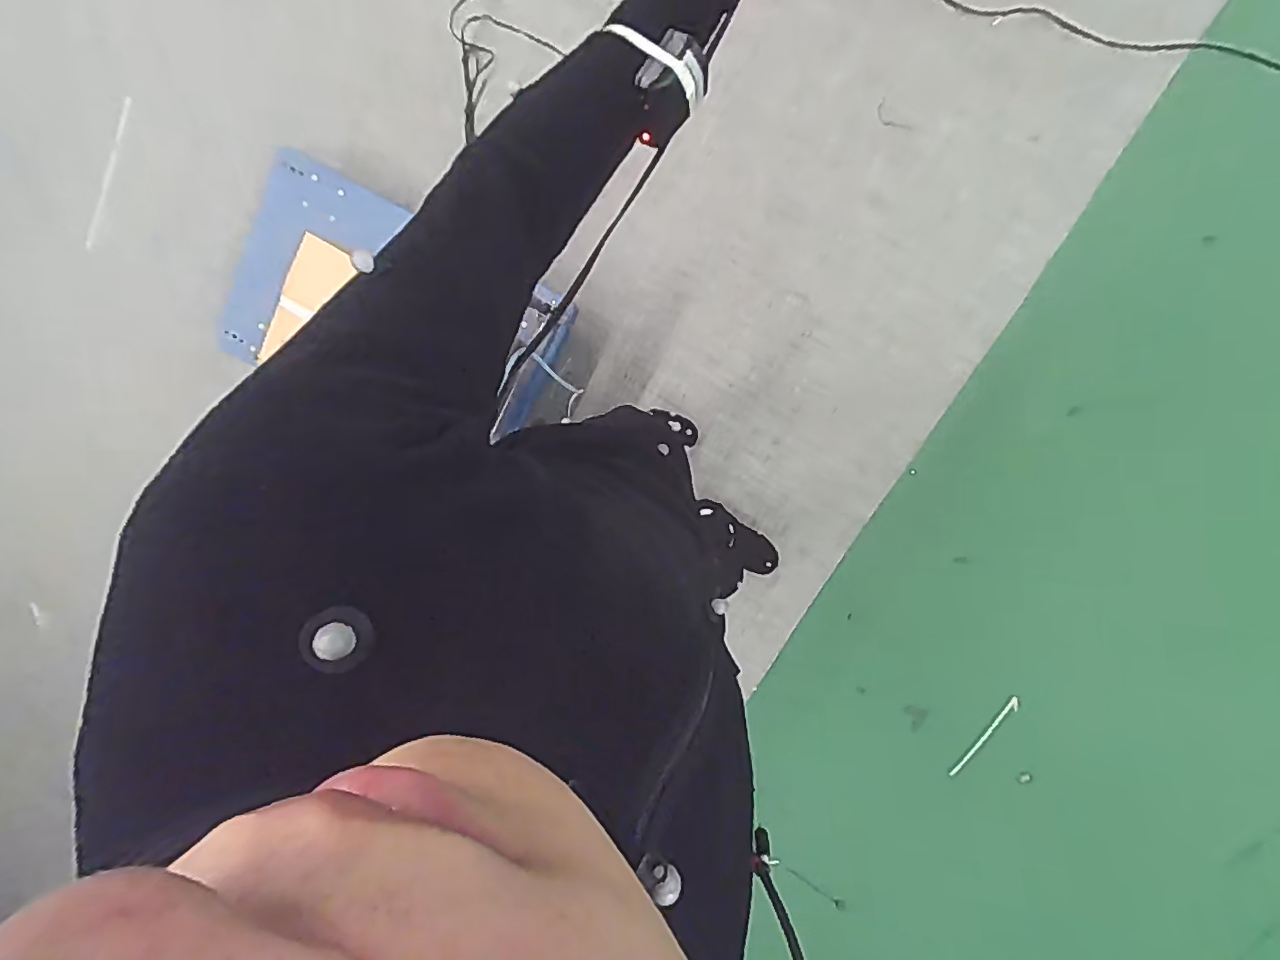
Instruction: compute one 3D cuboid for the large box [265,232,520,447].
[{"bbox_3d":[-0.570,-0.322,1.307,0.408,0.320,0.320,31,101,1],"label":"large box"}]
